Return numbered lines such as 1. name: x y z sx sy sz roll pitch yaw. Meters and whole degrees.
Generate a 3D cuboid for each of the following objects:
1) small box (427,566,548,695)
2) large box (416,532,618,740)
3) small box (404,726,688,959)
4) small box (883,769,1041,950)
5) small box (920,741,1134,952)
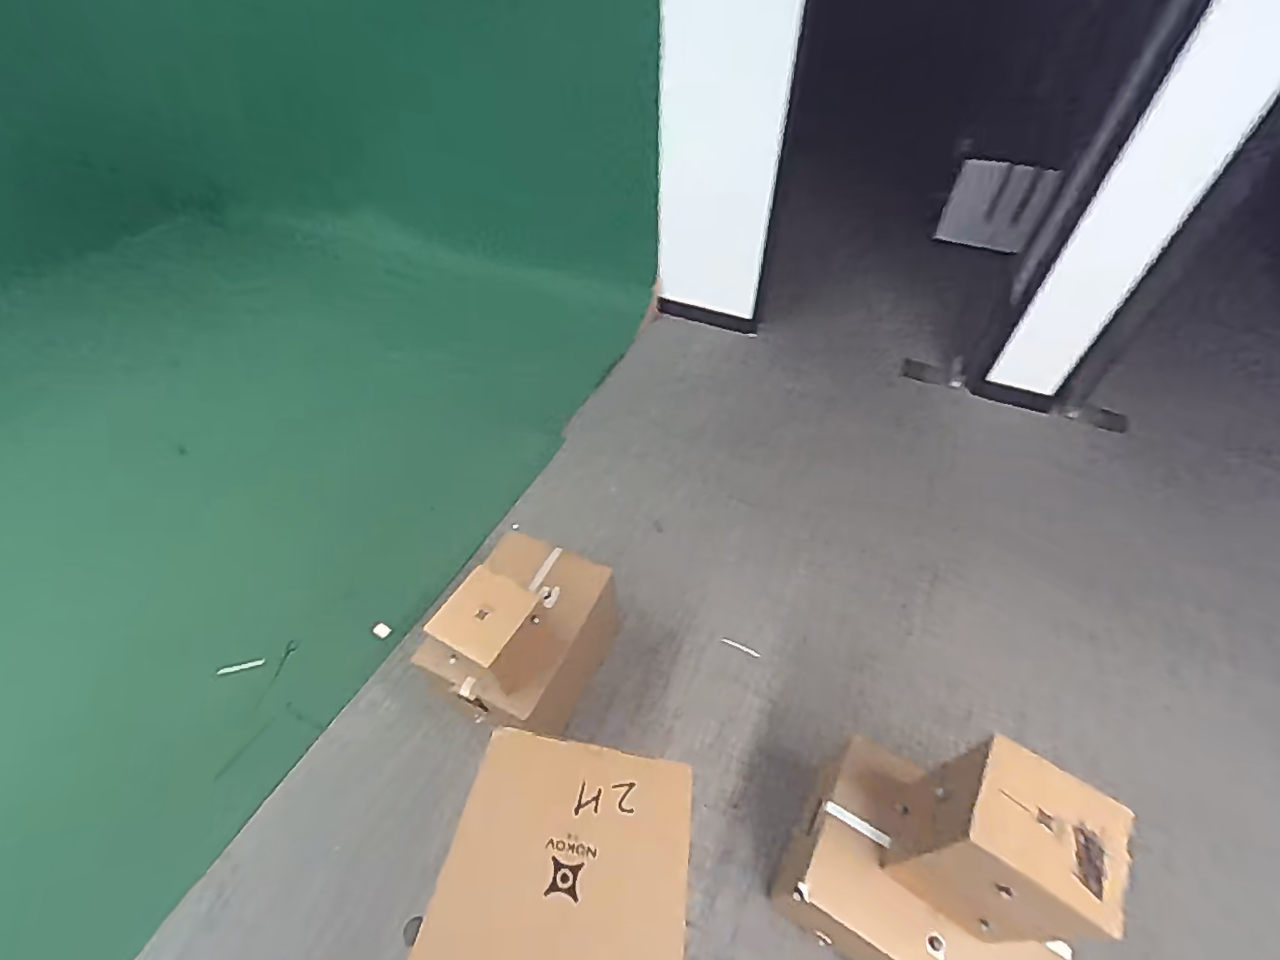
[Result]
1. small box: -0.312 0.324 1.153 0.168 0.176 0.179 23 53 18
2. large box: -0.284 0.419 1.394 0.320 0.320 0.408 20 52 17
3. small box: -0.064 0.331 0.418 0.168 0.176 0.179 12 35 1
4. small box: 0.535 0.622 0.891 0.179 0.176 0.168 28 53 23
5. small box: 0.537 0.515 0.765 0.179 0.176 0.168 29 53 24
